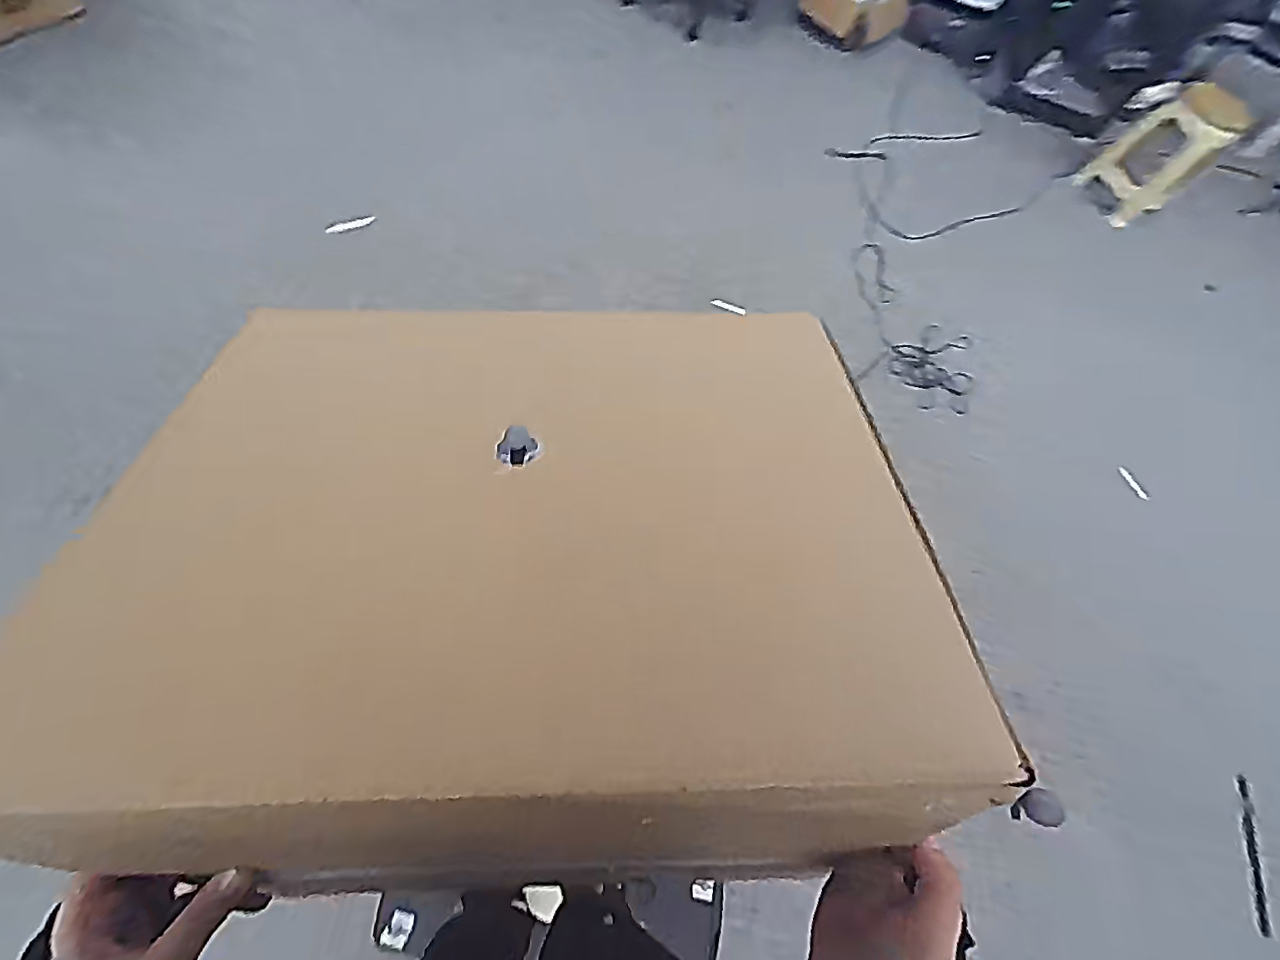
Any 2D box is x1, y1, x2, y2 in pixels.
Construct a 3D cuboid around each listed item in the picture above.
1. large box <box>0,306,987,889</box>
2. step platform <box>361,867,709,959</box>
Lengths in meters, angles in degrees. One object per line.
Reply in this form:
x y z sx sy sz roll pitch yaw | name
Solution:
-0.077 0.090 0.401 0.408 0.320 0.320 -2 50 -2 | large box
-0.204 0.866 1.134 0.684 0.204 0.286 22 65 0 | step platform
